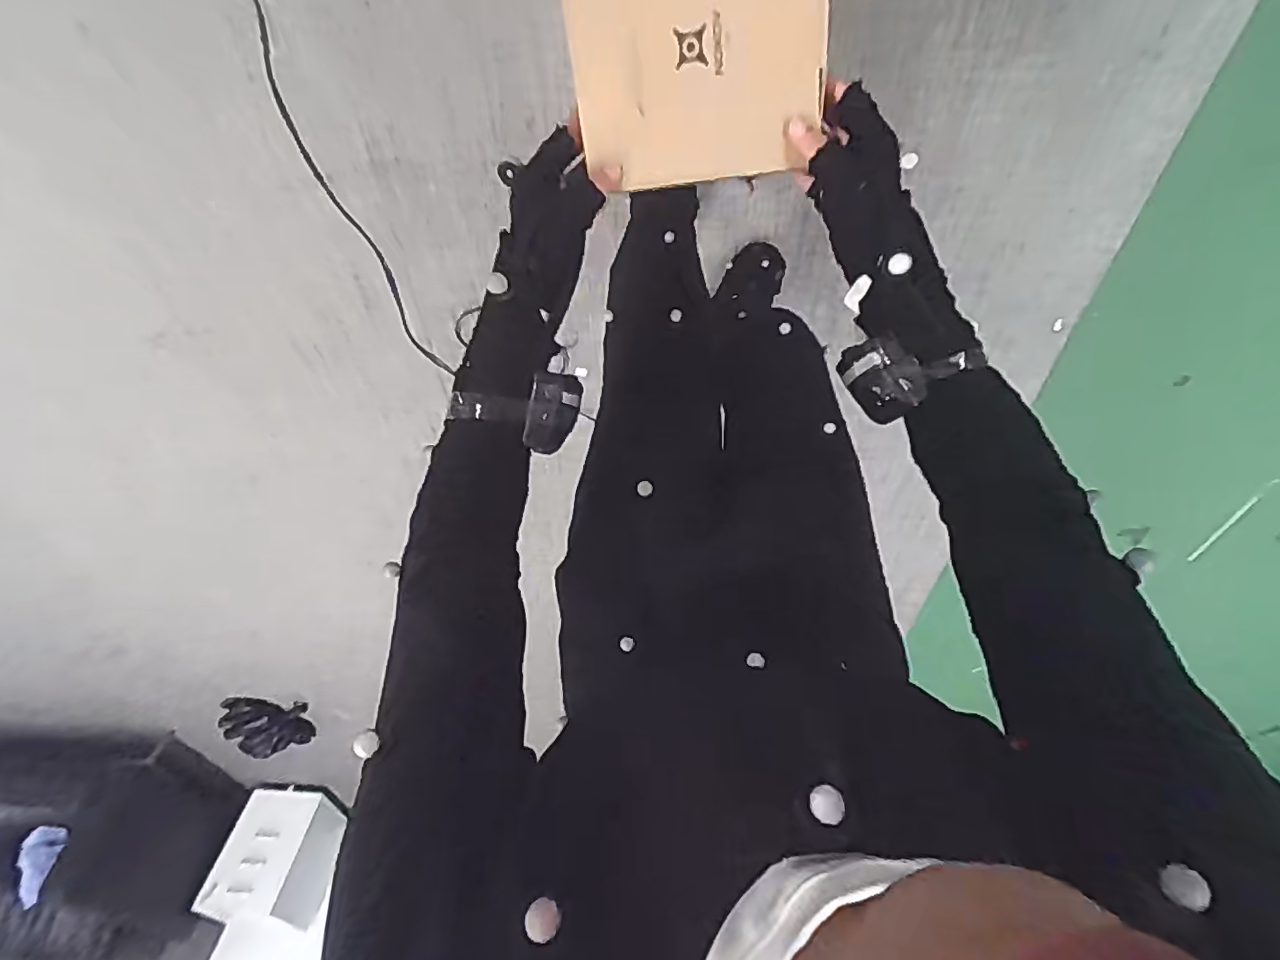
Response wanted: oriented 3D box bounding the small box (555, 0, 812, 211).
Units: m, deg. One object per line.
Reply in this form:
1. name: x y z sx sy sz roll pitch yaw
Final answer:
1. small box: 0.037 -0.332 0.456 0.179 0.176 0.168 -6 116 7
